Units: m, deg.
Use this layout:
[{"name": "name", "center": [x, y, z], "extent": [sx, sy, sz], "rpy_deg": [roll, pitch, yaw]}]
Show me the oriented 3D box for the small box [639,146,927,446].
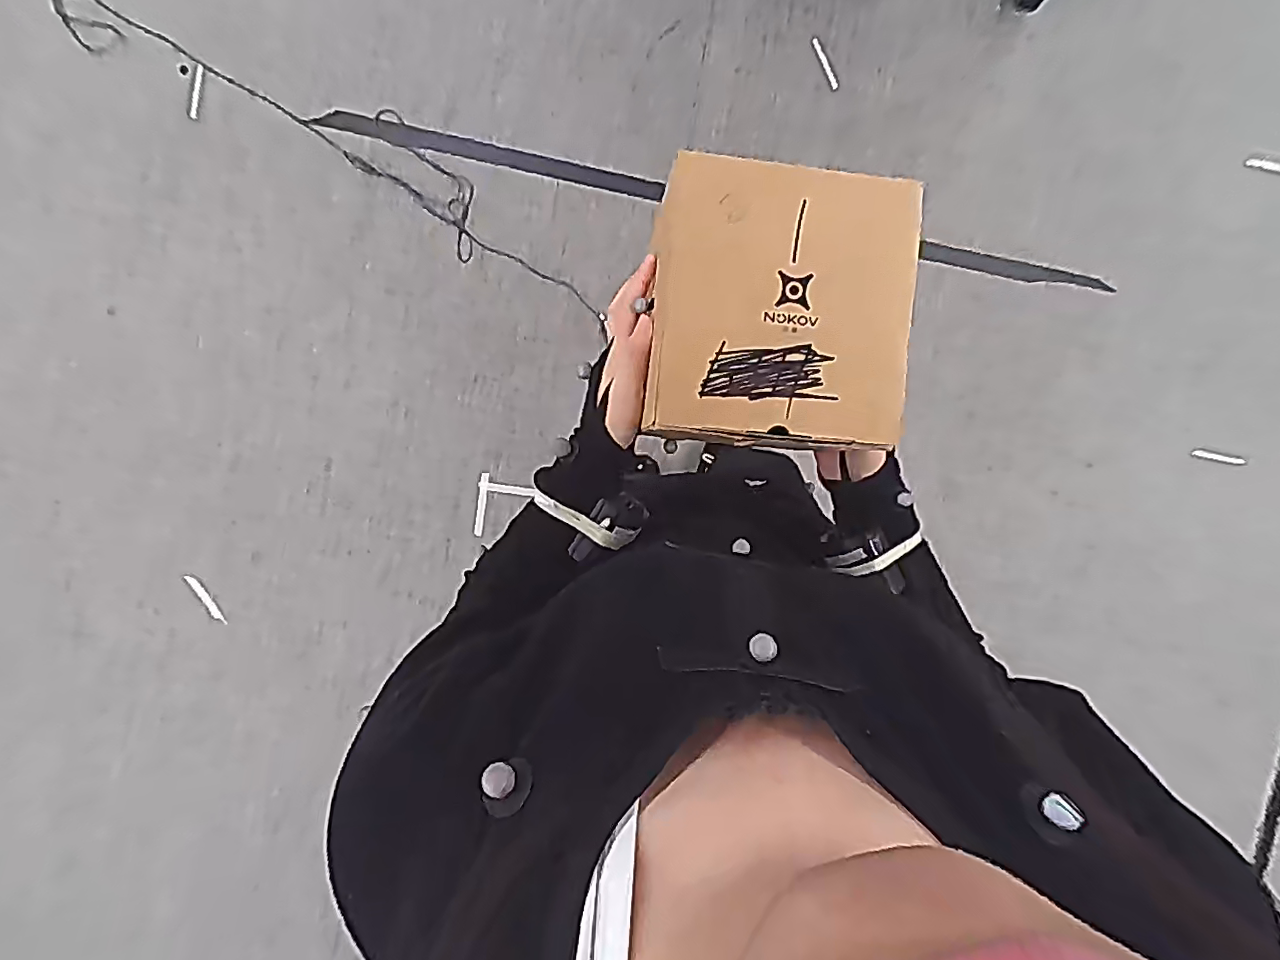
[{"name": "small box", "center": [0.091, -0.119, 0.427], "extent": [0.168, 0.176, 0.179], "rpy_deg": [5, 92, -6]}]
